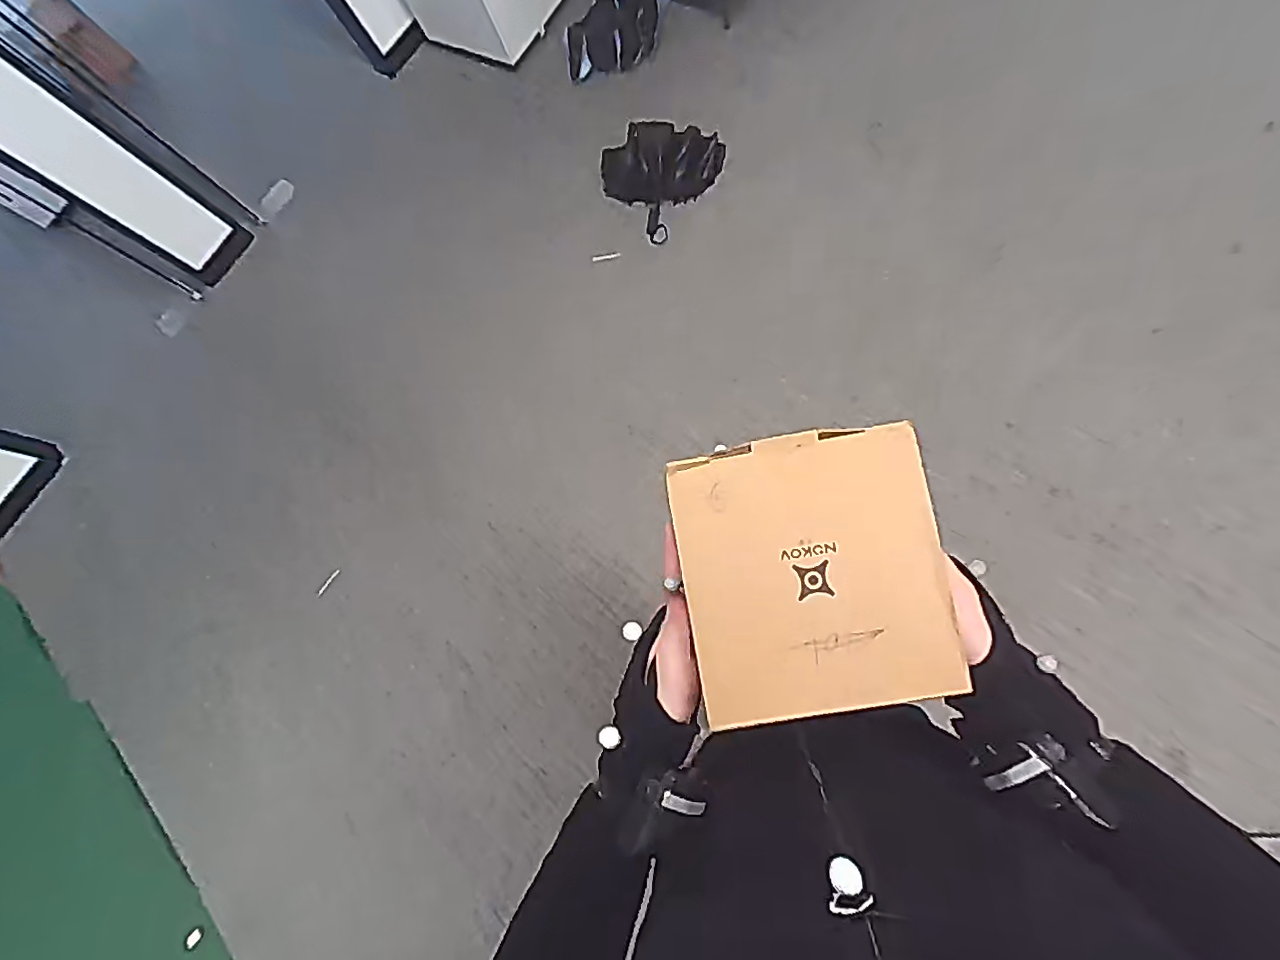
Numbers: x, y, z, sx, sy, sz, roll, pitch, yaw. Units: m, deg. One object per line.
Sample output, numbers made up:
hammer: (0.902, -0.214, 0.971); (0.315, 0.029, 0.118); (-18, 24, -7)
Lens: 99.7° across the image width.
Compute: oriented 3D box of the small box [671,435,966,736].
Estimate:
small box: (0.116, 0.073, 0.427); (0.168, 0.176, 0.179); (-9, 86, 4)
